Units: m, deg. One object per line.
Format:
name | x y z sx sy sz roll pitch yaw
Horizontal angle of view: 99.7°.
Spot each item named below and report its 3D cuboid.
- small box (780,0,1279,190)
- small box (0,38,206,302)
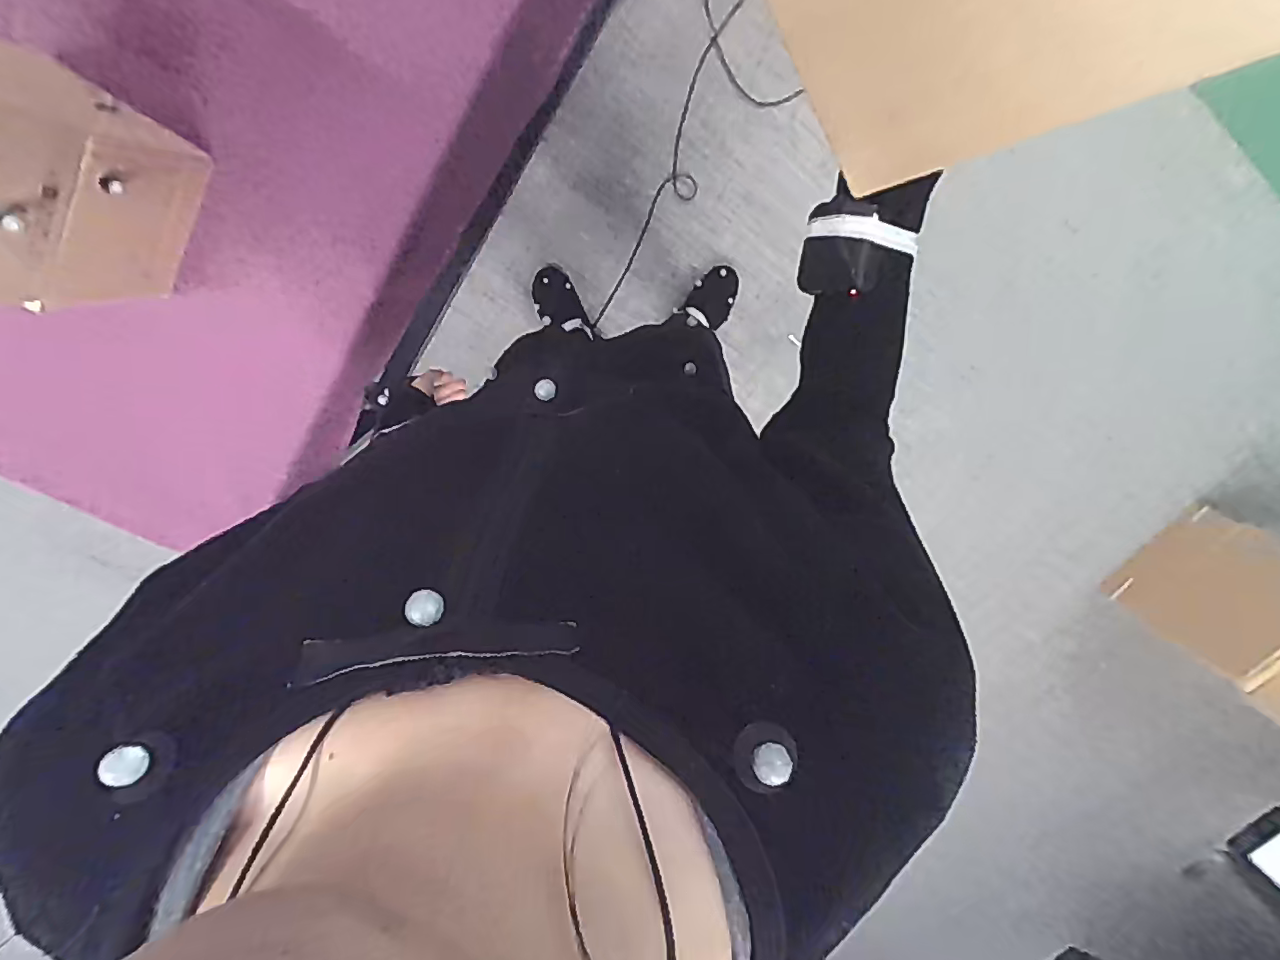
small box | 0.152 -0.256 0.192 0.176 0.168 0.179 41 67 -36
small box | -0.578 -0.299 0.527 0.168 0.176 0.179 29 107 -16
